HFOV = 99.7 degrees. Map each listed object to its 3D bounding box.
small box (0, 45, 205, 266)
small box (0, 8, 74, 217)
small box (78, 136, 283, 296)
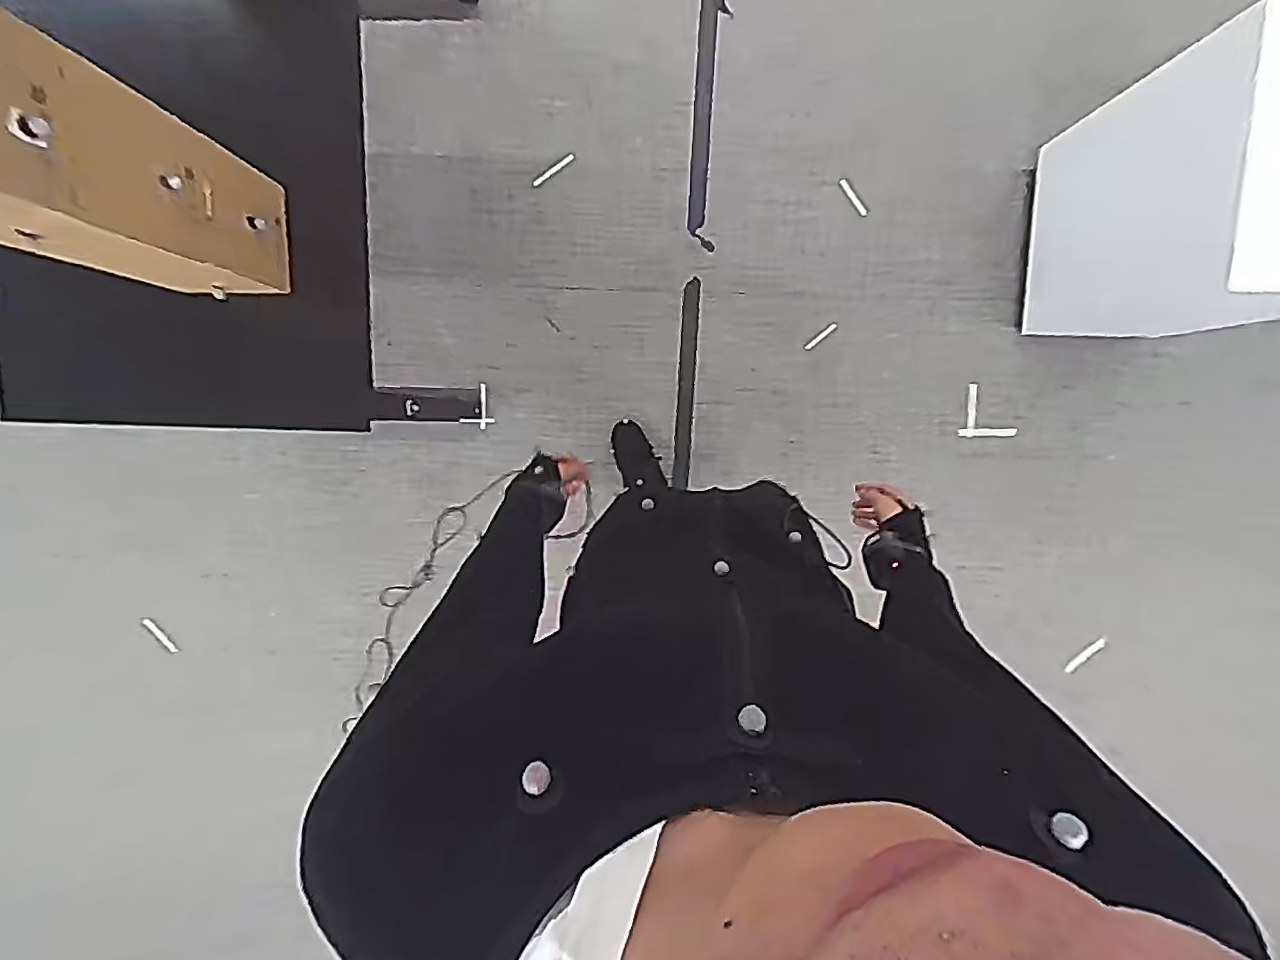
[{"bbox_3d":[-0.643,-0.347,0.607,0.179,0.176,0.168,1,97,0],"label":"small box"},{"bbox_3d":[-0.643,-0.330,0.445,0.179,0.176,0.168,0,98,0],"label":"small box"},{"bbox_3d":[-0.642,-0.365,0.771,0.179,0.176,0.168,0,96,-1],"label":"small box"}]
